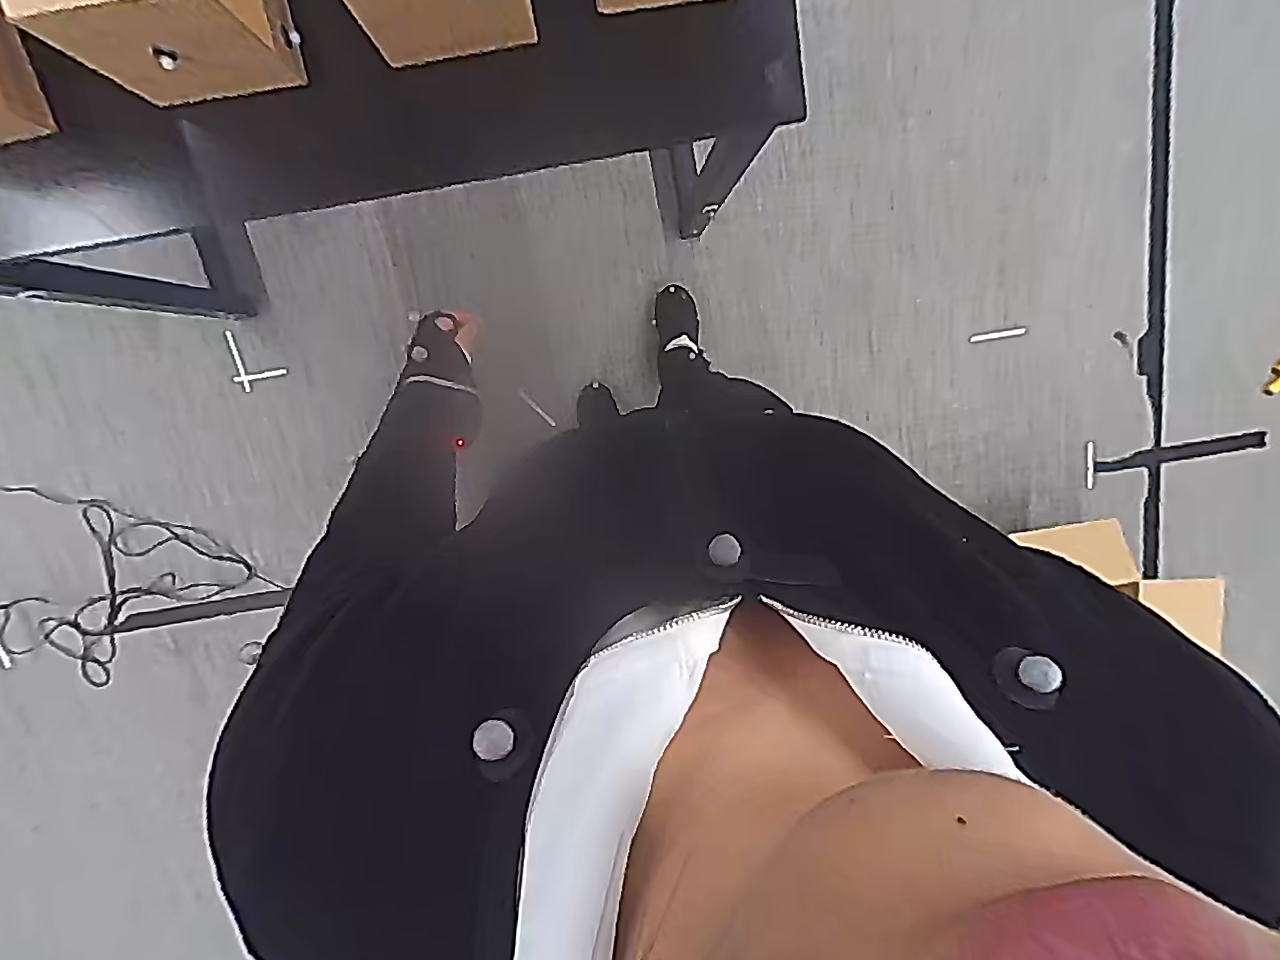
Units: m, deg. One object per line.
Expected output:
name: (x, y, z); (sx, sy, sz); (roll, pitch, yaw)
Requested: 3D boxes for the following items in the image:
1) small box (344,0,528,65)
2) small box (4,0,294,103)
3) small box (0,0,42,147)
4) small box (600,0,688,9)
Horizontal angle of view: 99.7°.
small box: (-0.215, -0.558, 0.537); (0.179, 0.176, 0.168); (-12, 102, -1)
small box: (-0.481, -0.509, 0.534); (0.179, 0.176, 0.168); (-10, 102, 0)
small box: (-0.769, -0.446, 0.533); (0.179, 0.176, 0.168); (-13, 102, 0)
small box: (0.027, -0.619, 0.538); (0.179, 0.176, 0.168); (-9, 102, 0)
